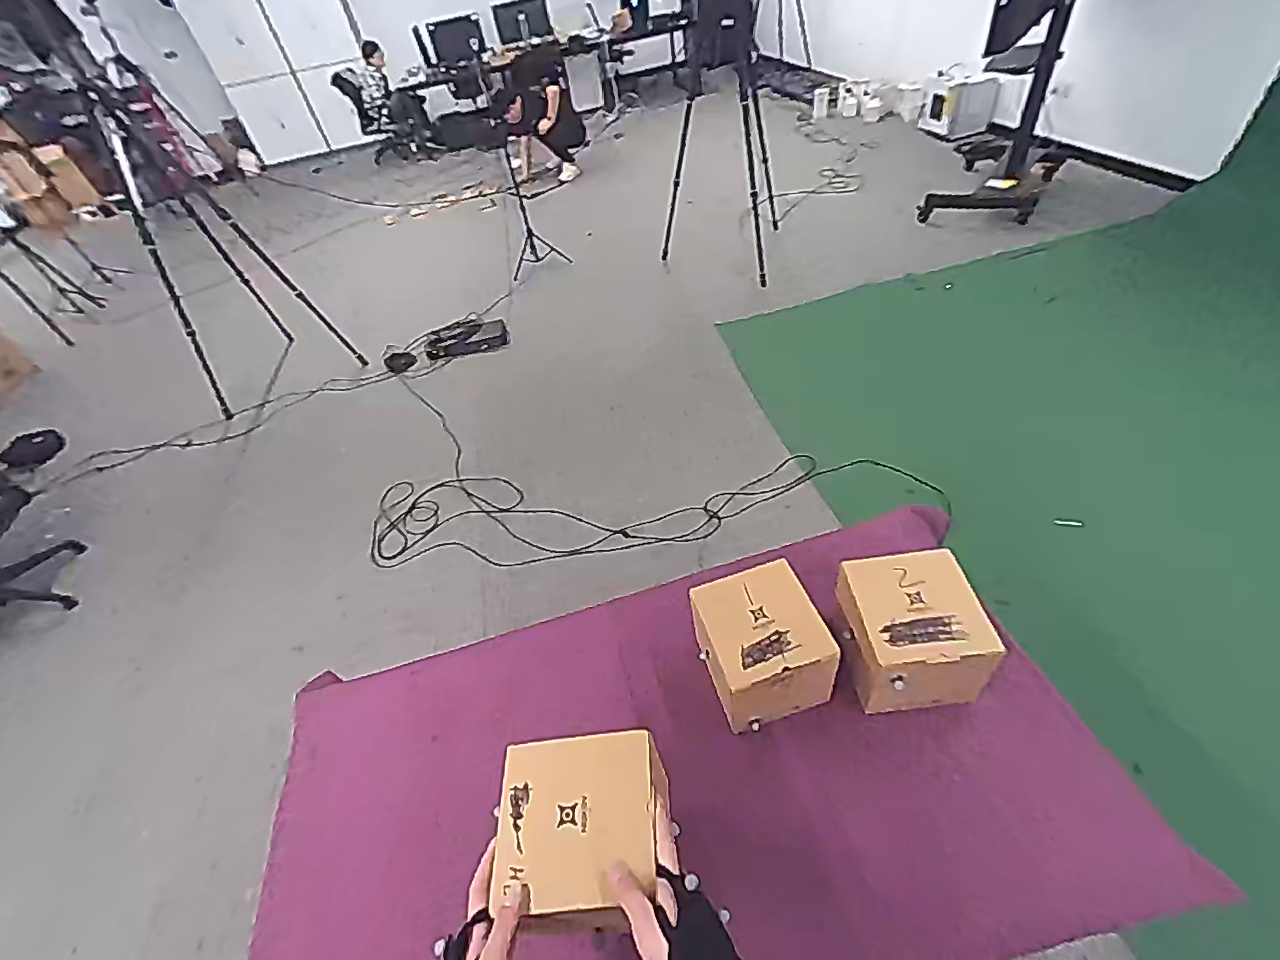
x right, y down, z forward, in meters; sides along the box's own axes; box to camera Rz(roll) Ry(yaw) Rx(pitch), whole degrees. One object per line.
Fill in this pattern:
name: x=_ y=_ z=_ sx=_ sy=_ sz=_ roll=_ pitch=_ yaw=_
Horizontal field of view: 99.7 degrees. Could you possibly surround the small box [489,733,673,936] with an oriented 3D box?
small box: x=-0.055 y=0.418 z=0.636 sx=0.179 sy=0.176 sz=0.168 roll=-7 pitch=43 yaw=4
